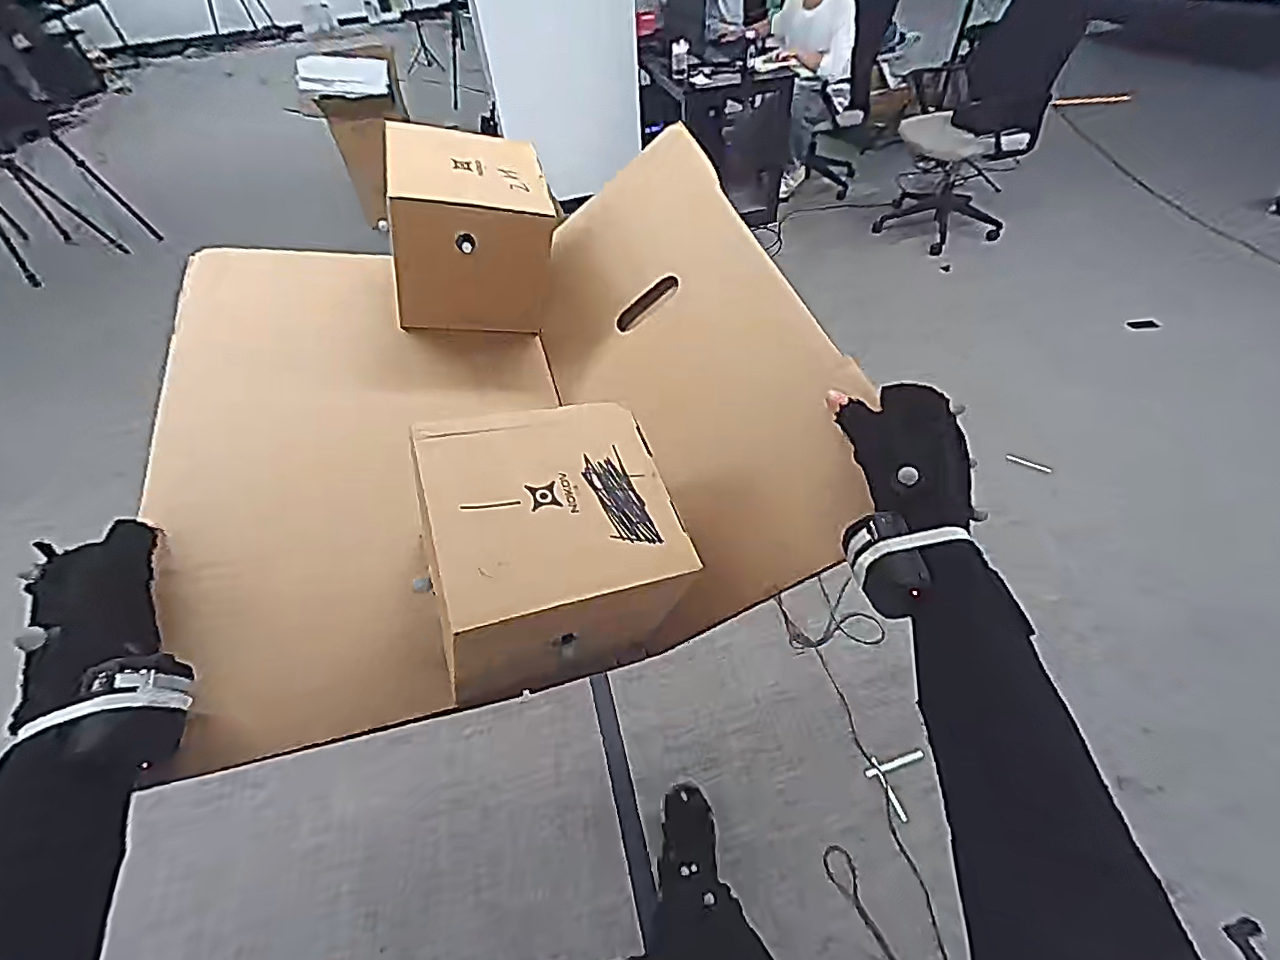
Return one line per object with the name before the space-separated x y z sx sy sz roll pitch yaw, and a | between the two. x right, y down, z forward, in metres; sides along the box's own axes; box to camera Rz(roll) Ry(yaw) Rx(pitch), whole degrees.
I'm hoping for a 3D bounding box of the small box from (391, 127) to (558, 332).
small box | -0.210 -0.306 0.684 0.179 0.176 0.168 -2 56 -21
